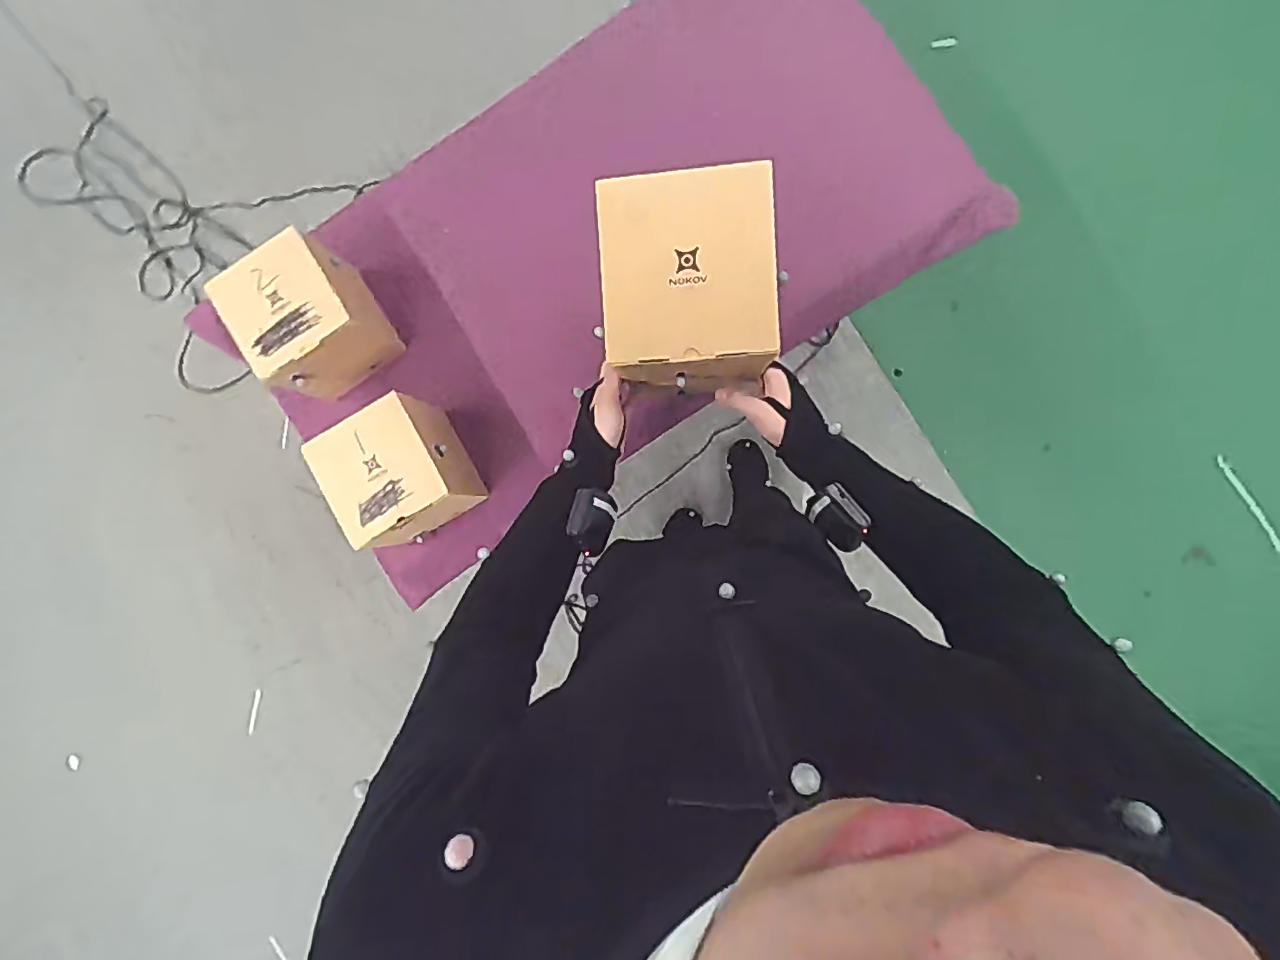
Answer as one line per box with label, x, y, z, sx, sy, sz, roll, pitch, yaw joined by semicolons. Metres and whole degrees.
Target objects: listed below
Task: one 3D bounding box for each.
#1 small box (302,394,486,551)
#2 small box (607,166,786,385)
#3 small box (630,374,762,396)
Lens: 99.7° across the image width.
small box;-0.373;-0.009;0.853;0.168;0.176;0.179;-30;85;2
small box;0.059;-0.203;0.583;0.168;0.176;0.179;-3;95;6
small box;0.074;-0.212;0.745;0.168;0.176;0.179;-1;95;6
